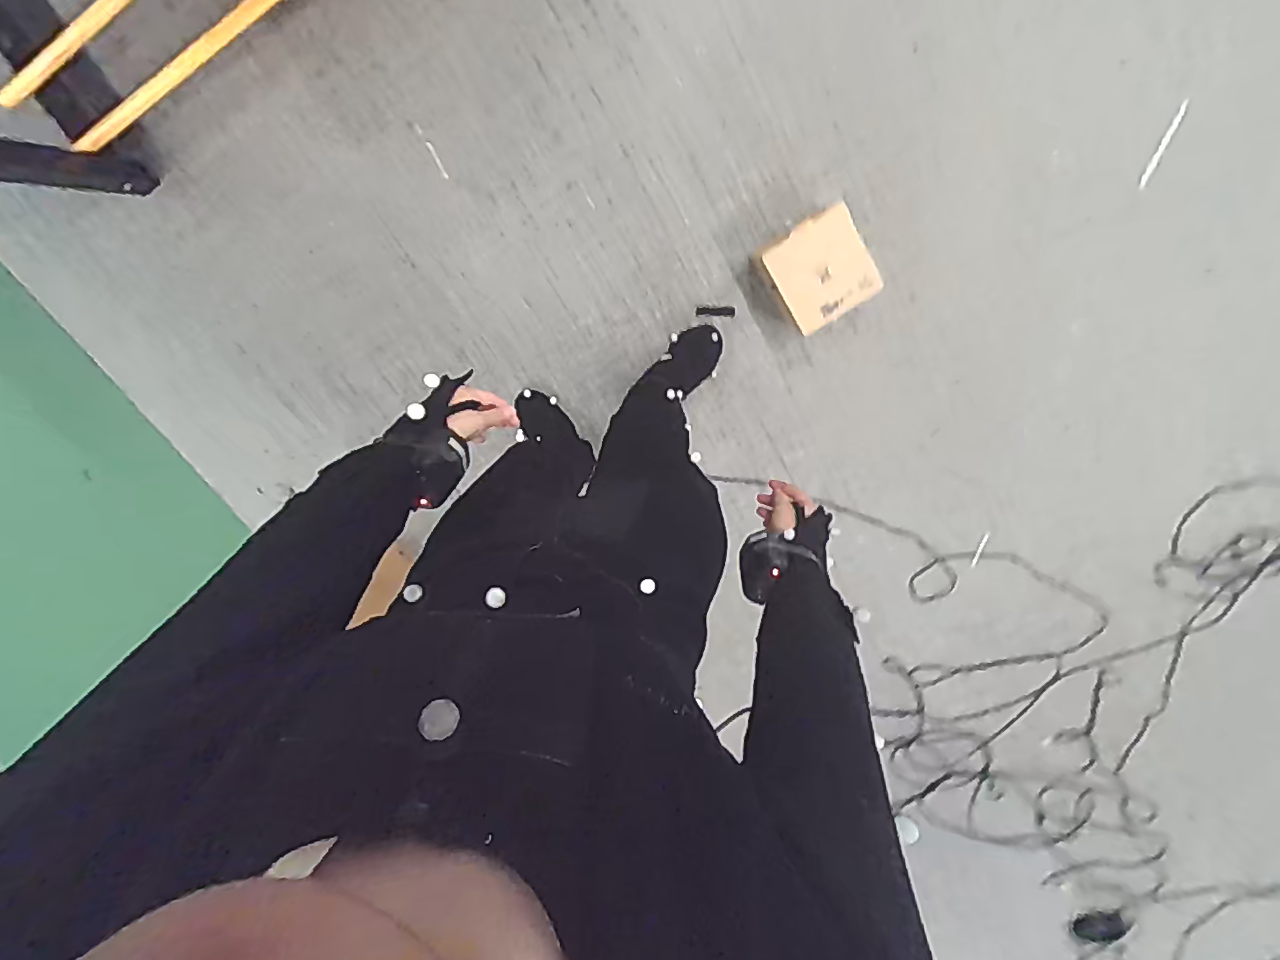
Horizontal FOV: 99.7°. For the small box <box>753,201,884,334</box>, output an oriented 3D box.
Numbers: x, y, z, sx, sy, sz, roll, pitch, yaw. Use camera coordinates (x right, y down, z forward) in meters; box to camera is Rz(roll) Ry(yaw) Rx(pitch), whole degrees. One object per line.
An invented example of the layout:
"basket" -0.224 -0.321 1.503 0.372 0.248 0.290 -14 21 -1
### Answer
"small box" 0.338 -0.411 1.060 0.168 0.176 0.179 -31 107 15
